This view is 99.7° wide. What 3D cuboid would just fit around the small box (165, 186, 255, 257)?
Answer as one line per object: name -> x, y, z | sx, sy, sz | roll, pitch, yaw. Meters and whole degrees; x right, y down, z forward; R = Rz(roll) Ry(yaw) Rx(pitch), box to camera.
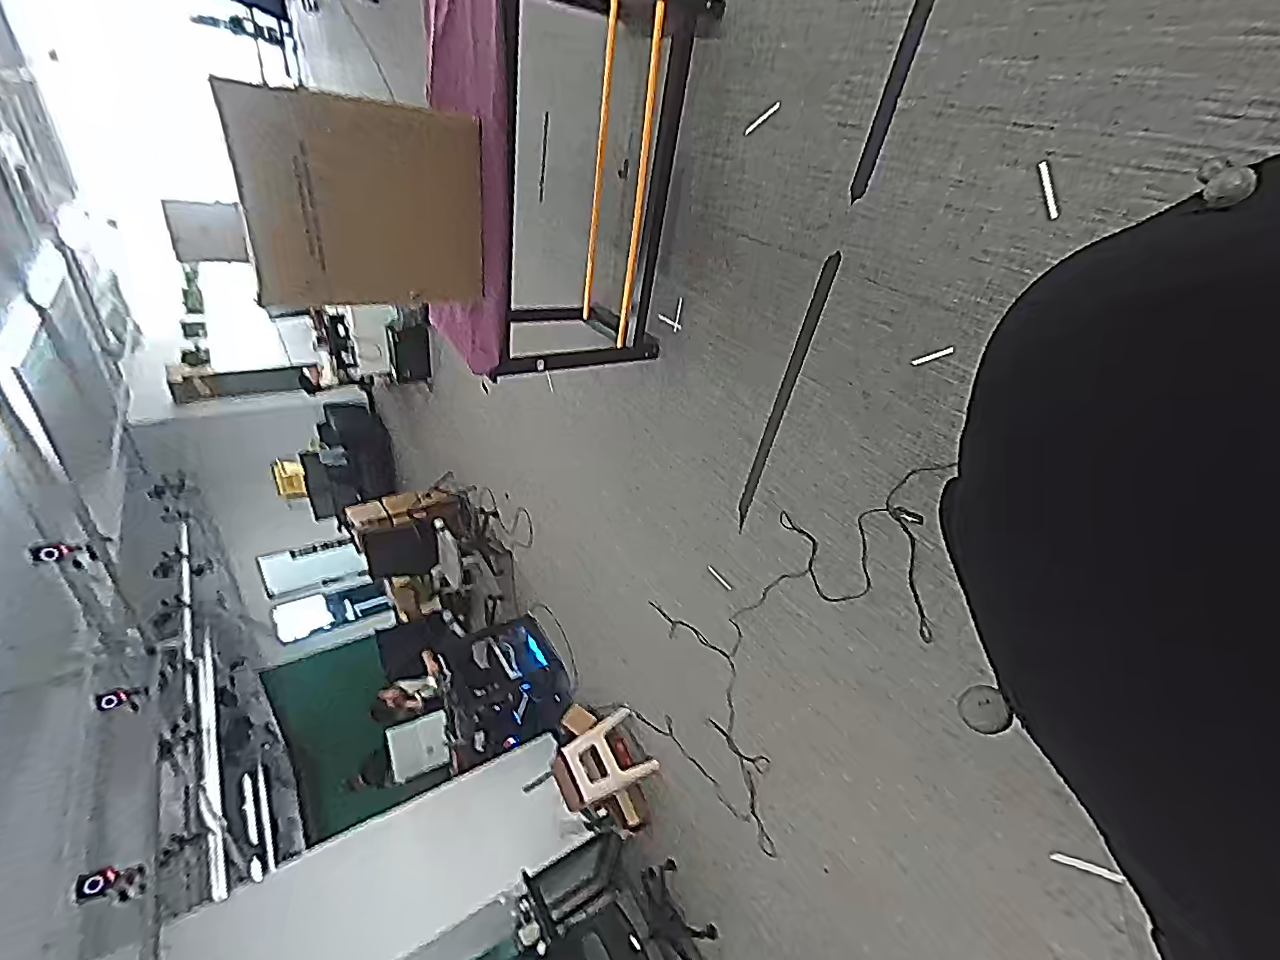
small box -> -1.216, -0.729, 1.529 | 0.179, 0.176, 0.168 | 37, 130, 44
